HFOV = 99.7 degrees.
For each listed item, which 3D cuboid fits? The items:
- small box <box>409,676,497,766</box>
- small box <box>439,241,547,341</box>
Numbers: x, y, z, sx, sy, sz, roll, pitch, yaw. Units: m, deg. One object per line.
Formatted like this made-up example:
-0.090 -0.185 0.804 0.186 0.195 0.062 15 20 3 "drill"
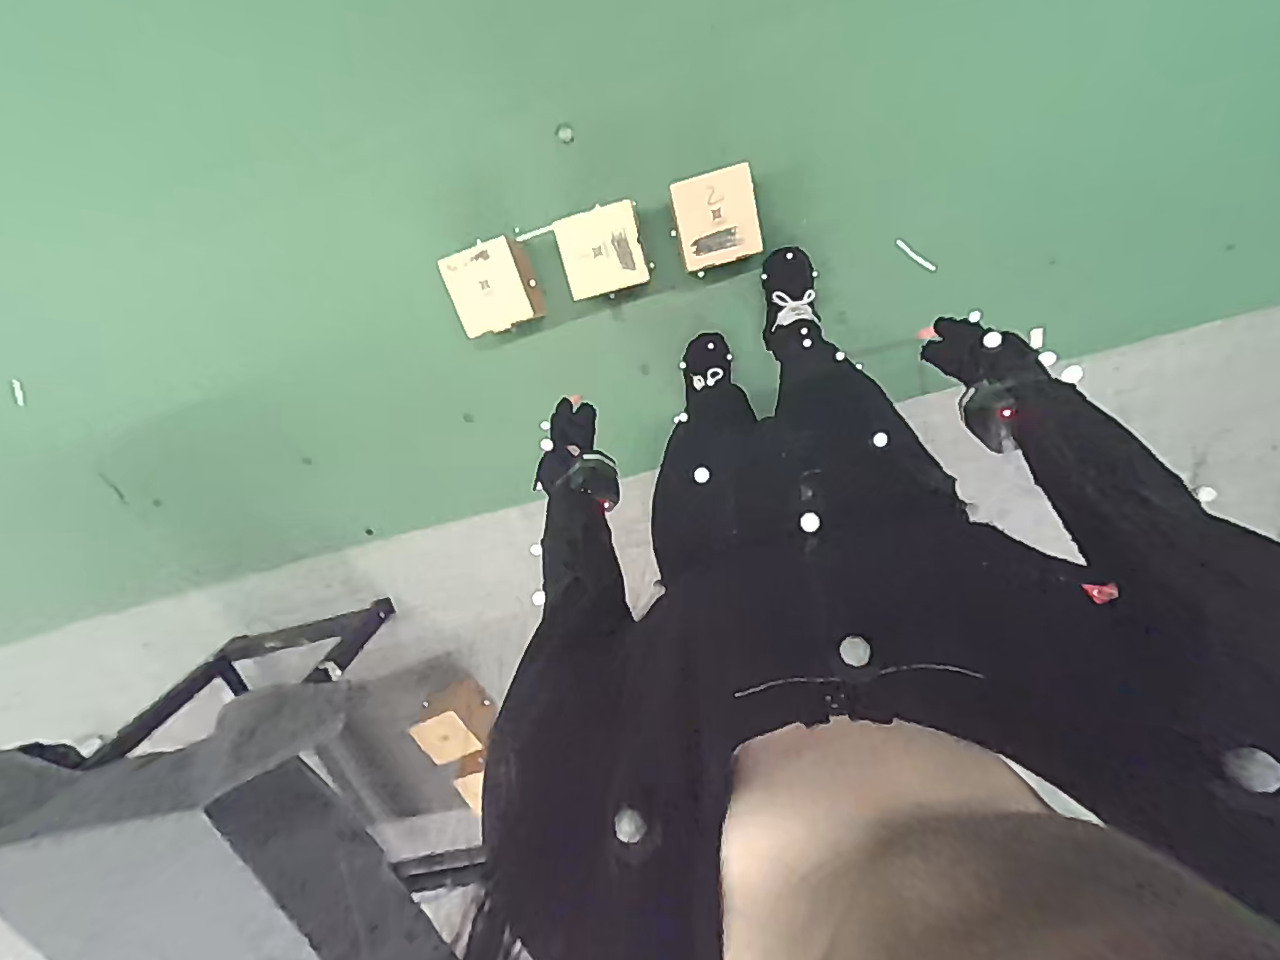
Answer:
-0.586 0.761 1.720 0.179 0.176 0.168 -26 107 12 "small box"
-0.332 -0.444 1.265 0.168 0.176 0.179 -16 109 9 "small box"
